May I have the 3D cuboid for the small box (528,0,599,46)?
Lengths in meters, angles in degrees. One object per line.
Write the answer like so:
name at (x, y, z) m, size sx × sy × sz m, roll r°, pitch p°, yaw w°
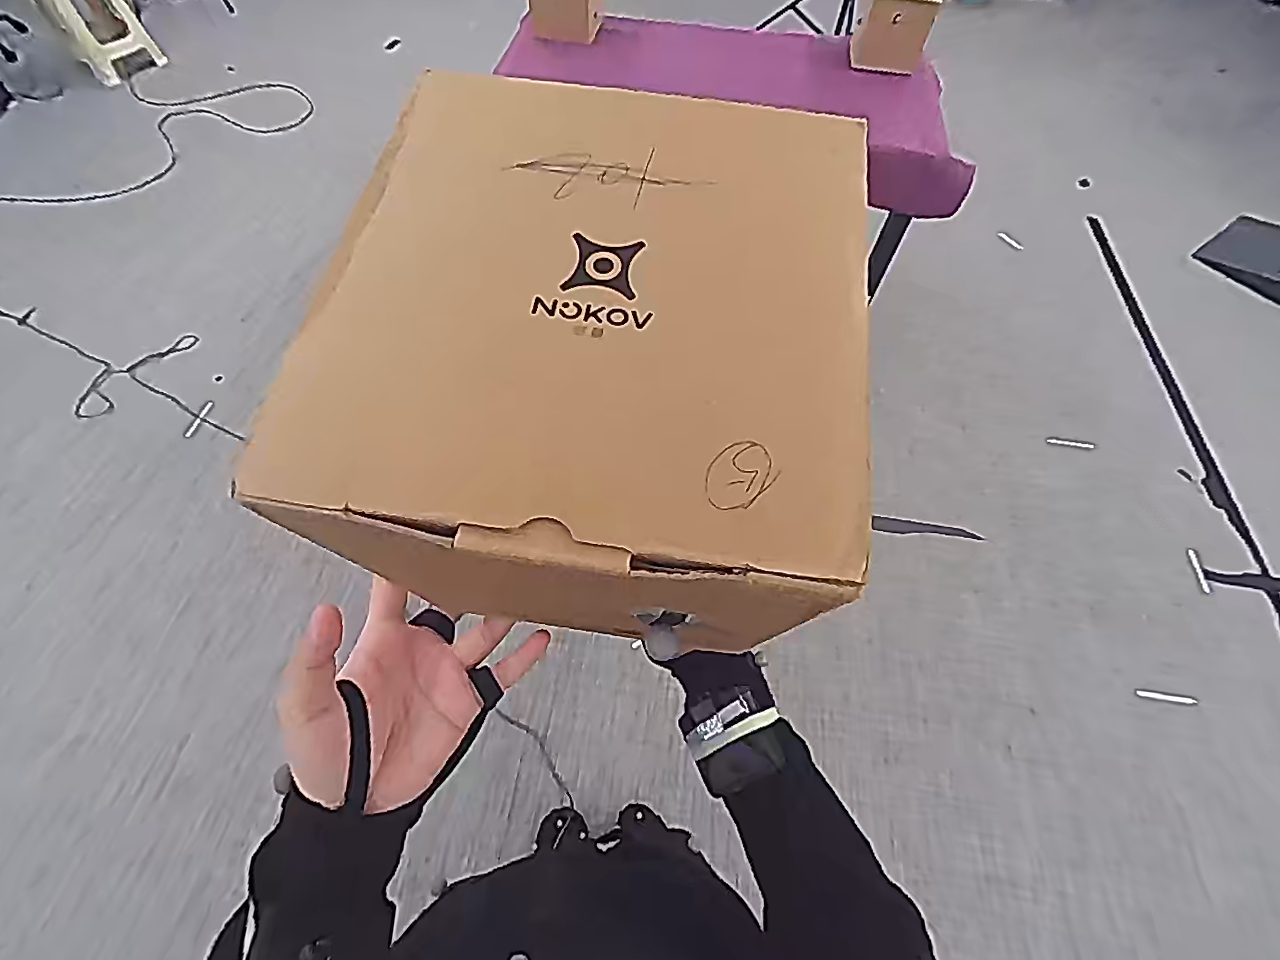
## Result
small box at (-0.220, -1.386, 1.550) m, size 0.179 × 0.176 × 0.168 m, roll 11°, pitch 62°, yaw 3°

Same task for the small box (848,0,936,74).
small box at (0.696, -1.277, 1.518) m, size 0.179 × 0.176 × 0.168 m, roll 9°, pitch 61°, yaw 2°

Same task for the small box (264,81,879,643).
small box at (-0.010, -0.031, 0.244) m, size 0.168 × 0.176 × 0.179 m, roll 8°, pitch 67°, yaw 1°
